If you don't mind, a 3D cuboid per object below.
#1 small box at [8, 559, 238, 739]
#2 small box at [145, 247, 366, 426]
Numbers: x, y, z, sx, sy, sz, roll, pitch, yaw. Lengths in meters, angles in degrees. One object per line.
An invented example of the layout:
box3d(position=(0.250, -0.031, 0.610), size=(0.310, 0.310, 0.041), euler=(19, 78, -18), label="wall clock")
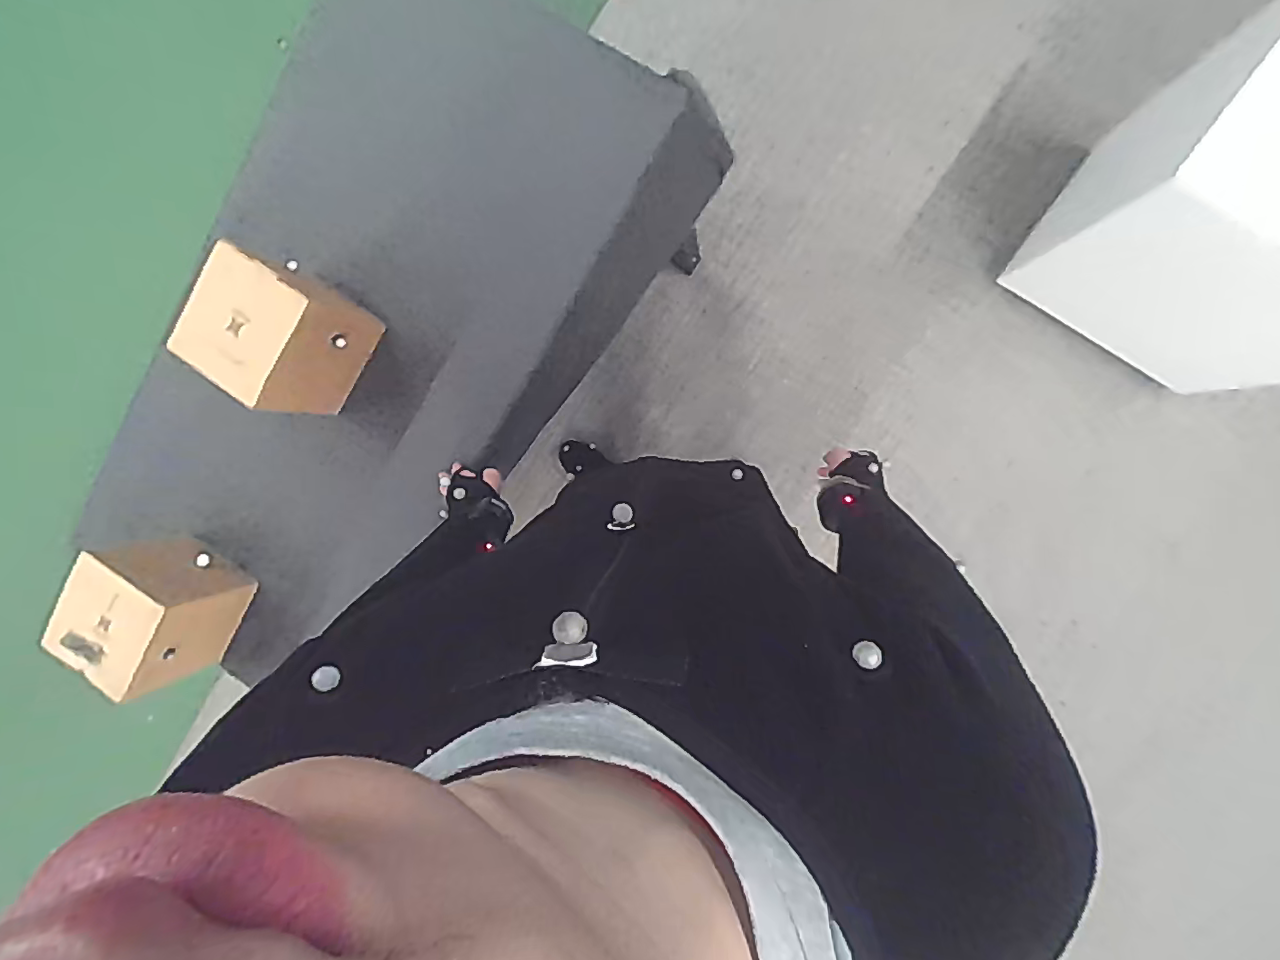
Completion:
box3d(position=(-0.777, 0.246, 0.831), size=(0.168, 0.176, 0.179), euler=(30, 95, 4), label="small box")
box3d(position=(-0.534, -0.192, 0.779), size=(0.168, 0.176, 0.179), euler=(32, 98, 5), label="small box")
